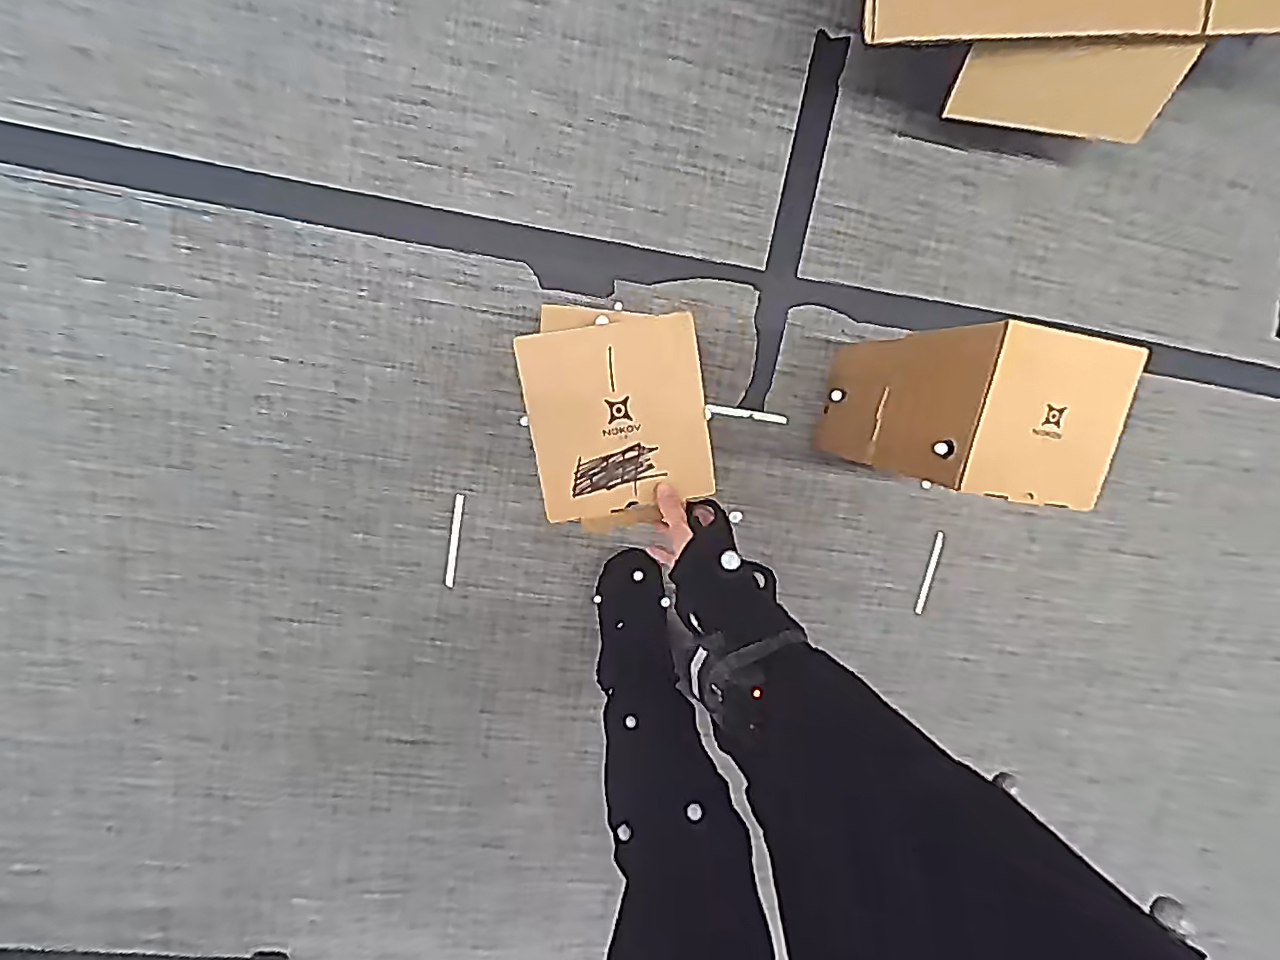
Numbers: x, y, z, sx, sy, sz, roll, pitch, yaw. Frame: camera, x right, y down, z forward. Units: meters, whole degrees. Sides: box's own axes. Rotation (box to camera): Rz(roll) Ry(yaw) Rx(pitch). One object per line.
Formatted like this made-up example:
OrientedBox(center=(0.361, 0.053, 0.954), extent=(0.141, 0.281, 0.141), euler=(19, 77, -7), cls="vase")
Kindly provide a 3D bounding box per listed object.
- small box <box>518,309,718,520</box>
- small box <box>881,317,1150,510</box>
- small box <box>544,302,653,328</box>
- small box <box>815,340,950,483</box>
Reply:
OrientedBox(center=(-0.024, -0.074, 0.572), extent=(0.168, 0.176, 0.179), euler=(-10, 102, -5), cls="small box")
OrientedBox(center=(0.410, -0.080, 0.624), extent=(0.168, 0.176, 0.179), euler=(8, 102, -9), cls="small box")
OrientedBox(center=(-0.039, -0.138, 0.726), extent=(0.179, 0.176, 0.168), euler=(3, 101, -6), cls="small box")
OrientedBox(center=(0.388, -0.101, 0.784), extent=(0.179, 0.176, 0.168), euler=(13, 100, -10), cls="small box")
